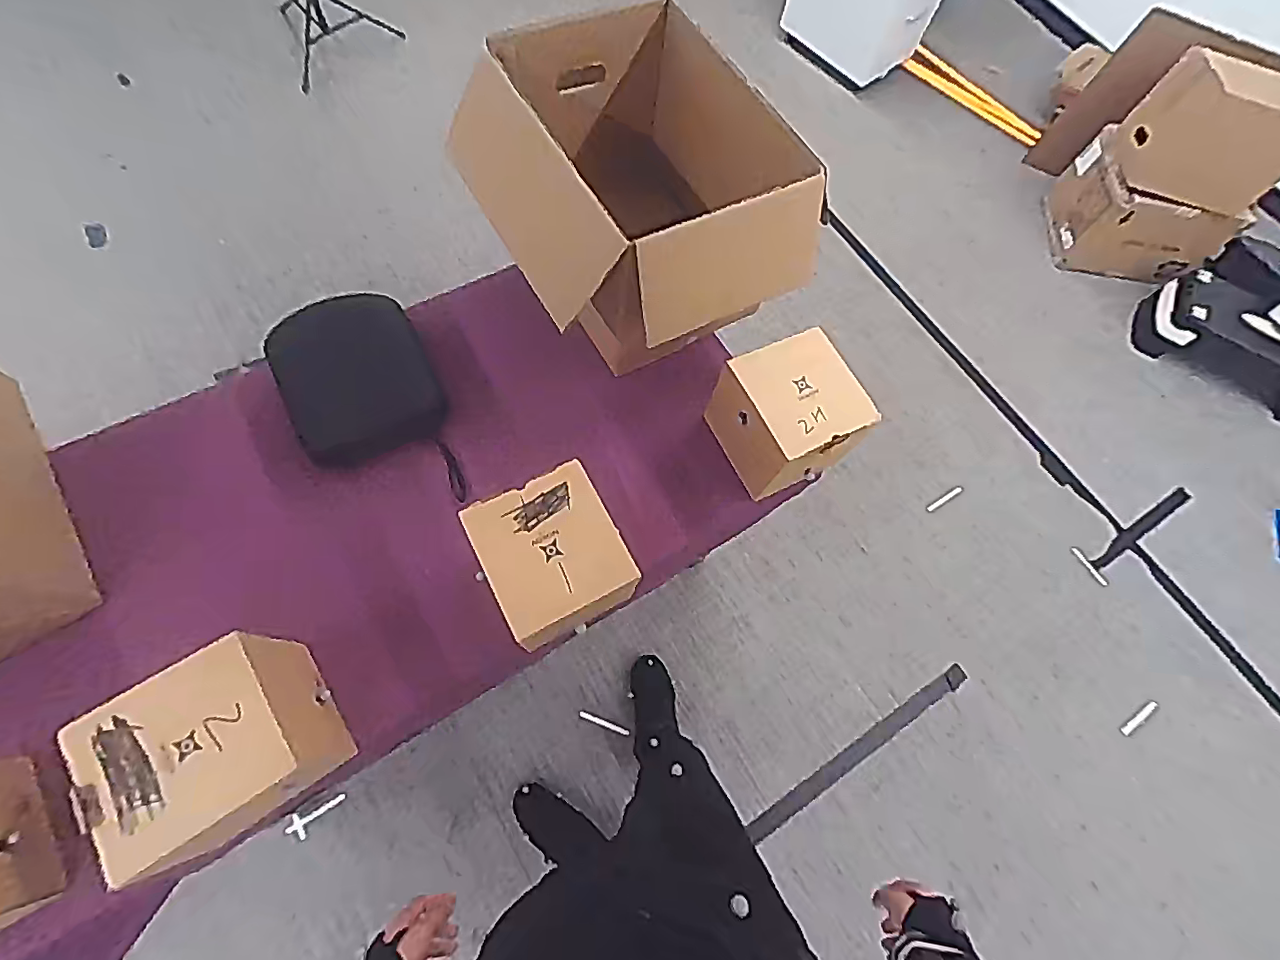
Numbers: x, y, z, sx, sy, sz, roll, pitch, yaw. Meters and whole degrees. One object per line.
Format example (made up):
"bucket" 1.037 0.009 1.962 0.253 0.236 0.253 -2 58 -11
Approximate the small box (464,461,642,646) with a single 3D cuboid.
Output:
"small box" -0.116 0.107 0.732 0.168 0.176 0.179 -26 74 -14

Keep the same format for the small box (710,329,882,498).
"small box" 0.228 -0.098 0.846 0.168 0.176 0.179 -23 73 -13

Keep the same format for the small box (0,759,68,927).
"small box" -0.760 0.411 0.544 0.179 0.176 0.168 -29 75 -17
